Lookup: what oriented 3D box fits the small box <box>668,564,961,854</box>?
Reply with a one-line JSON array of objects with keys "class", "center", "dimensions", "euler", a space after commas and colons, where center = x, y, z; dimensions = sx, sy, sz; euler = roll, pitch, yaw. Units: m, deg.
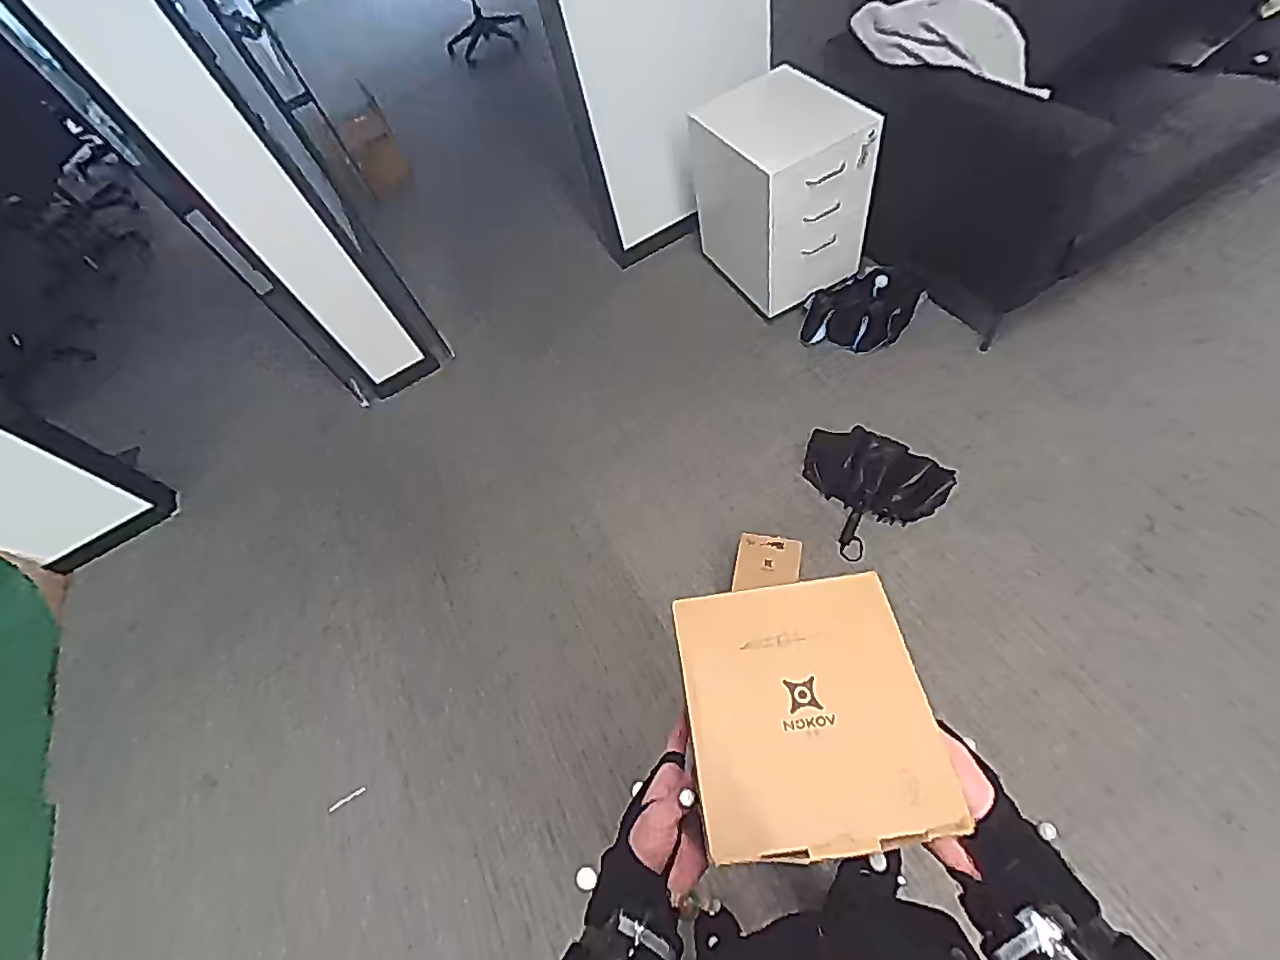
[{"class": "small box", "center": [0.118, 0.192, 0.446], "dimensions": [0.168, 0.176, 0.179], "euler": [-8, 55, 0]}]
